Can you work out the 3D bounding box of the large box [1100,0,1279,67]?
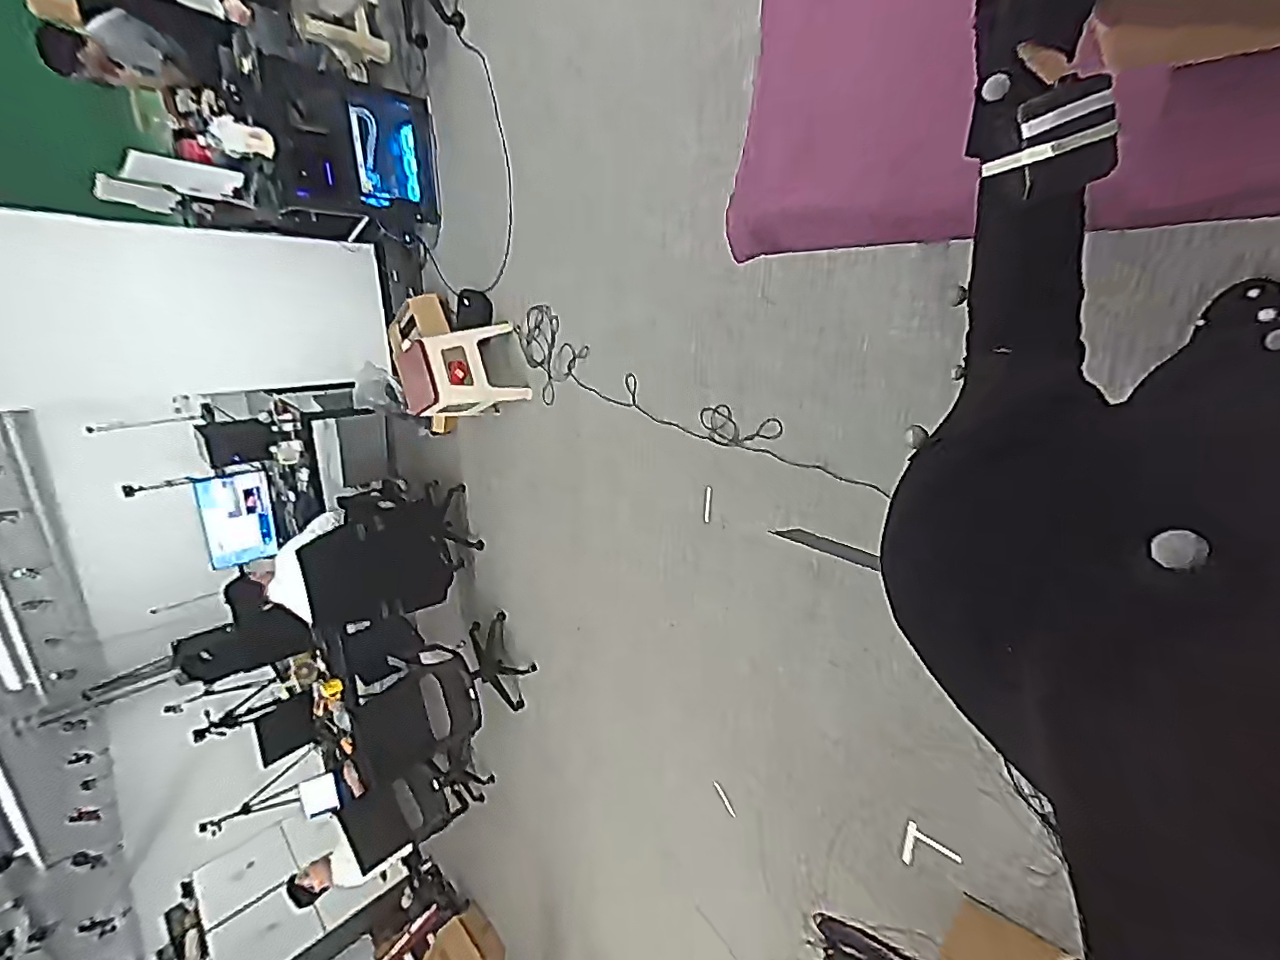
[{"bbox_3d":[0.492,-0.452,0.240,0.408,0.320,0.320,14,119,39],"label":"large box"}]
